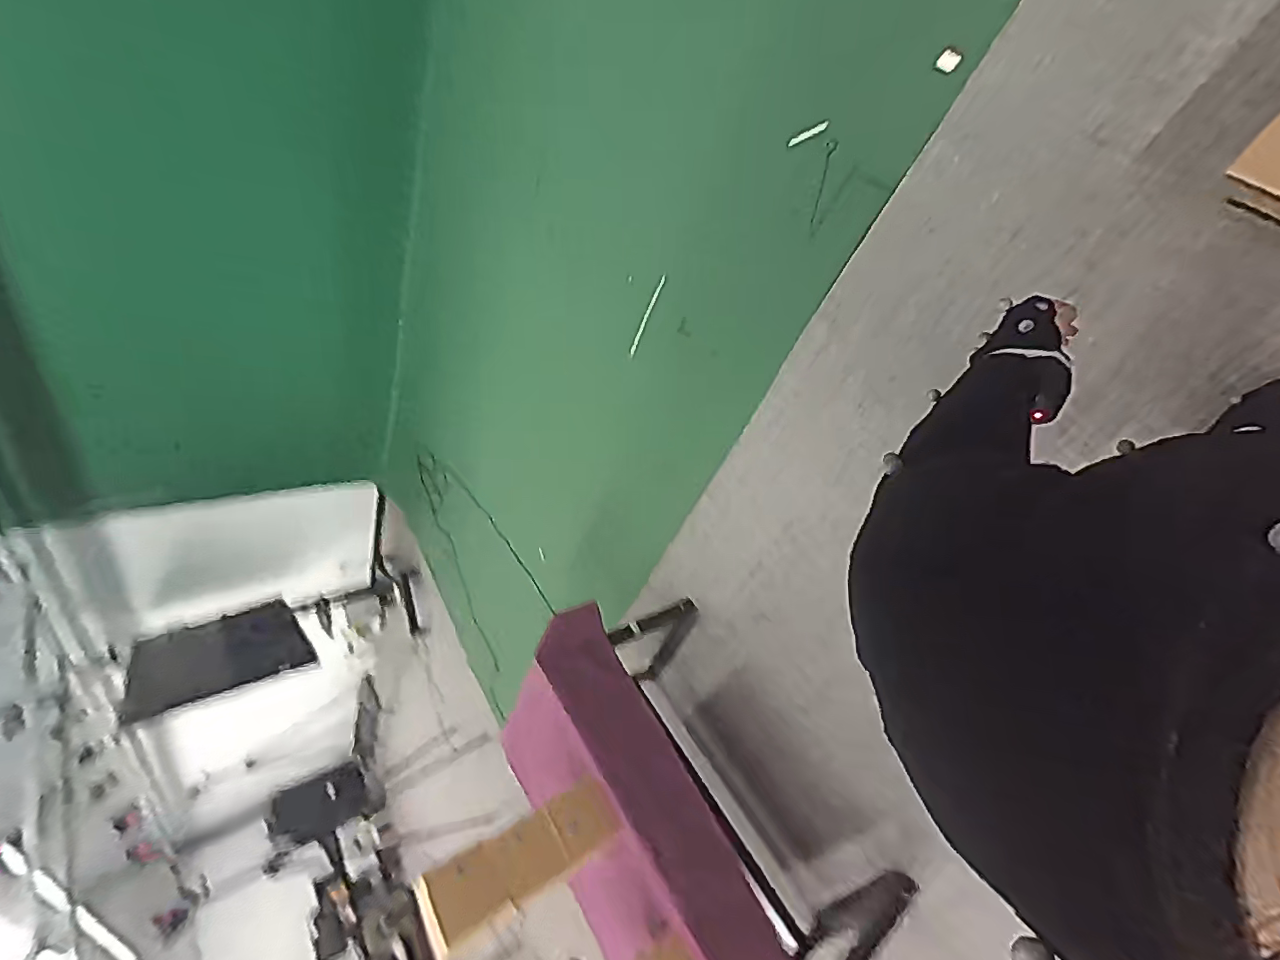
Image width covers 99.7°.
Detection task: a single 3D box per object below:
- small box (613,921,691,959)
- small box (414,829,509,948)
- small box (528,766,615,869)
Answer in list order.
[{"bbox_3d":[0.032,1.270,1.373,0.179,0.176,0.168,50,133,31],"label":"small box"},{"bbox_3d":[-0.459,1.034,1.386,0.179,0.176,0.168,50,133,30],"label":"small box"},{"bbox_3d":[-0.199,0.981,1.578,0.179,0.176,0.168,52,133,29],"label":"small box"}]
